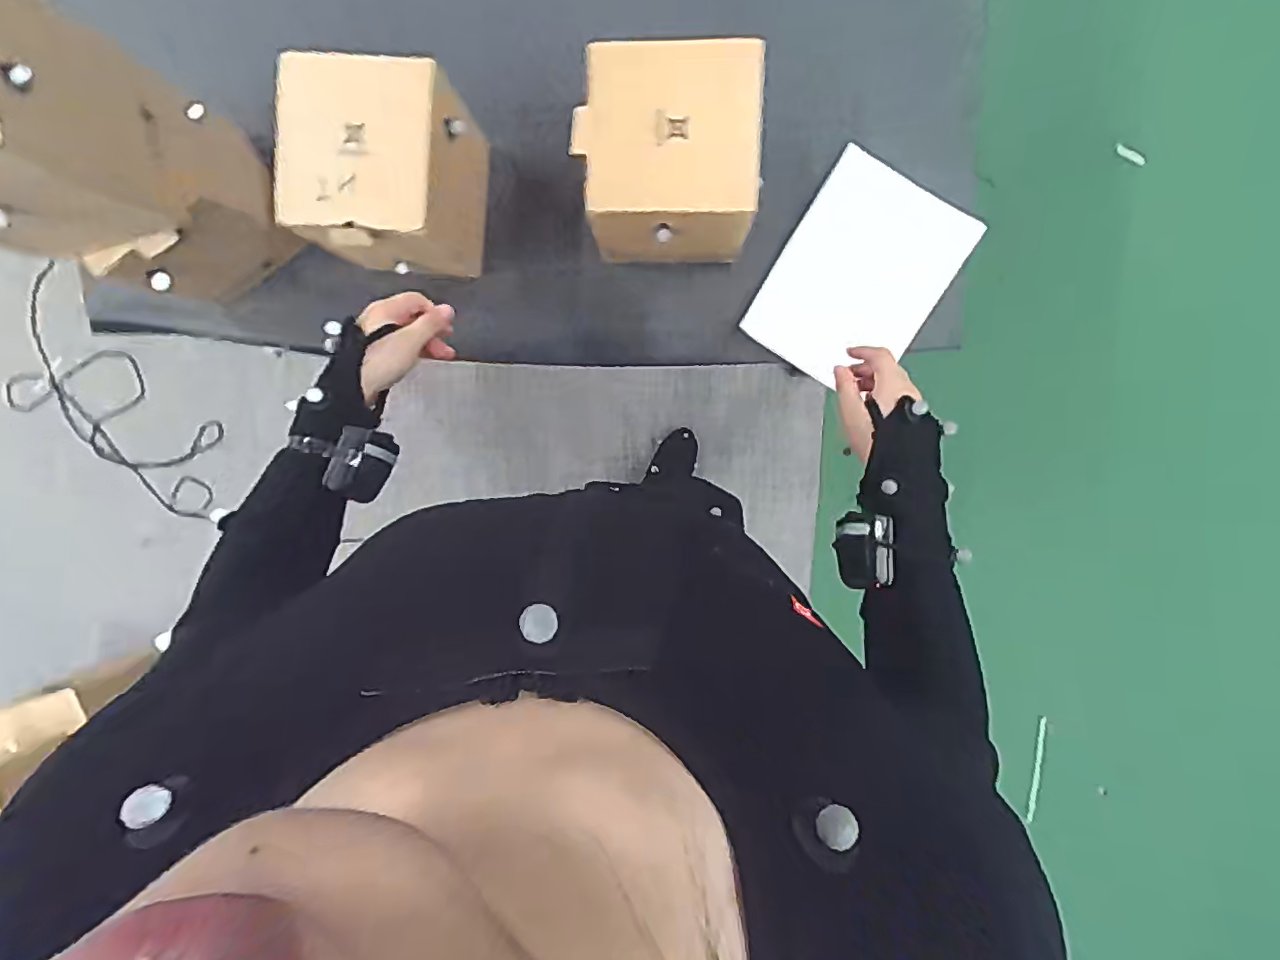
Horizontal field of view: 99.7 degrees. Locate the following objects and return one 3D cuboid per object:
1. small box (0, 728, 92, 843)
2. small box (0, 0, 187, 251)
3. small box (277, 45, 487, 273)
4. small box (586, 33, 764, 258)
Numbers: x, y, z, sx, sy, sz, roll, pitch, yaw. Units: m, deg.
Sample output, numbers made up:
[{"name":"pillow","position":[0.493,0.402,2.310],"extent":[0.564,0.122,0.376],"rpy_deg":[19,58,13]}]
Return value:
[{"name":"small box","position":[-1.476,0.726,1.281],"extent":[0.168,0.176,0.179],"rpy_deg":[-16,95,4]},{"name":"small box","position":[-0.588,-0.334,0.503],"extent":[0.179,0.176,0.168],"rpy_deg":[-12,95,6]},{"name":"small box","position":[-0.292,-0.365,0.643],"extent":[0.168,0.176,0.179],"rpy_deg":[6,96,4]},{"name":"small box","position":[0.038,-0.365,0.620],"extent":[0.179,0.176,0.168],"rpy_deg":[2,96,5]}]
